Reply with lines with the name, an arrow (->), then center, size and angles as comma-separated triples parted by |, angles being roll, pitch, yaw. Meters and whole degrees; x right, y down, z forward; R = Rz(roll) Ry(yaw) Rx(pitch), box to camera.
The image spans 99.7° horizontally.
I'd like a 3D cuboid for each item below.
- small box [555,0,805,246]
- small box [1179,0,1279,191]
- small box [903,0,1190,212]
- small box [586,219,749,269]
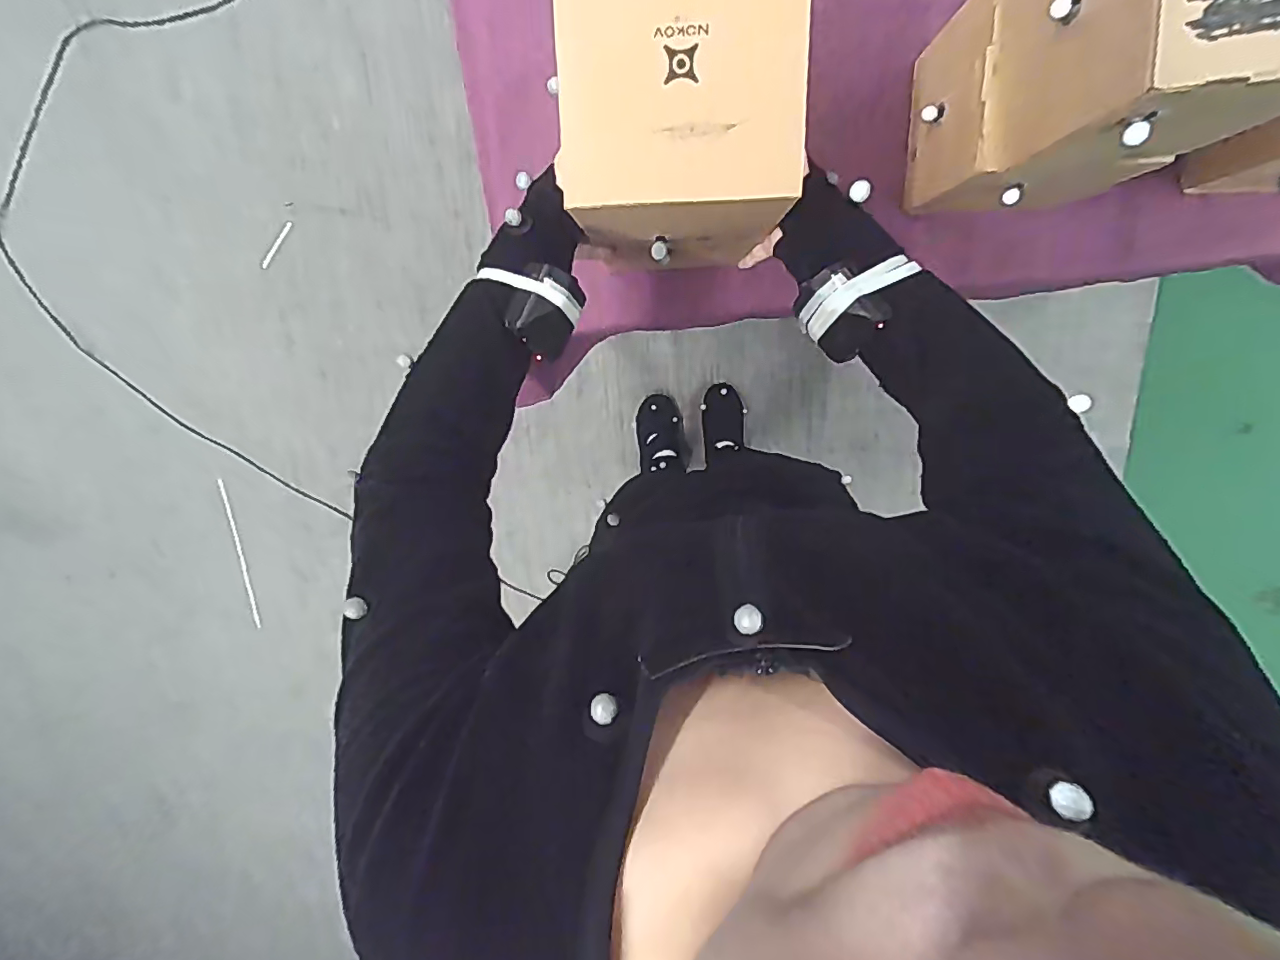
small box -> 0.029, -0.299, 0.435 | 0.168, 0.176, 0.179 | 0, 104, 4
small box -> 0.706, -0.408, 0.539 | 0.168, 0.176, 0.179 | 0, 104, 4
small box -> 0.396, -0.388, 0.561 | 0.179, 0.176, 0.168 | -1, 103, 4
small box -> 0.036, -0.333, 0.593 | 0.179, 0.176, 0.168 | -2, 103, 3
